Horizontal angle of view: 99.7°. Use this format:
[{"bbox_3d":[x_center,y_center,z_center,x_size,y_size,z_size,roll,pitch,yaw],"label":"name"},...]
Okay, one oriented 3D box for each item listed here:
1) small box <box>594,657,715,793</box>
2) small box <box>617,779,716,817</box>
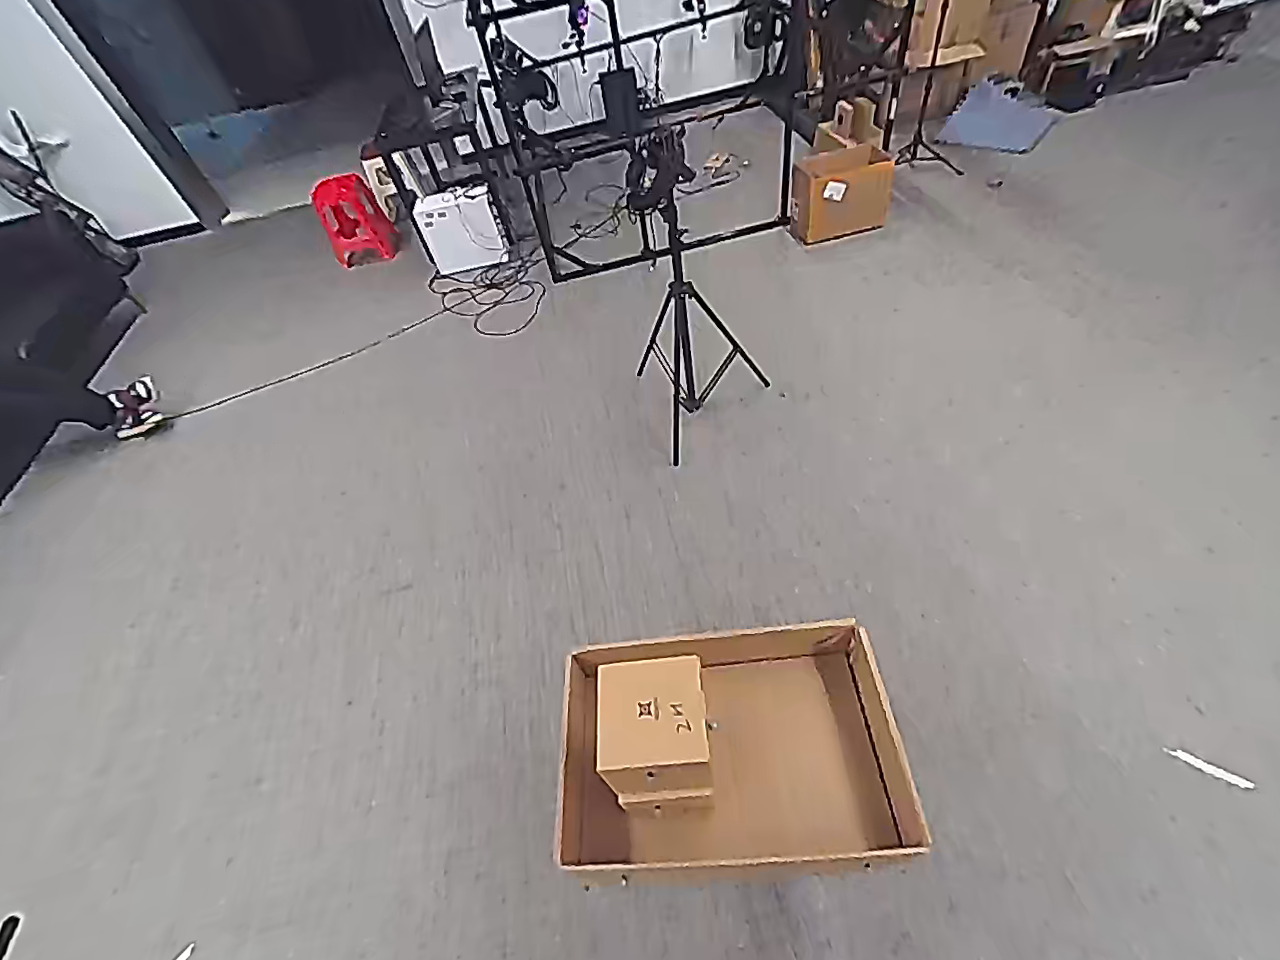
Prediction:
[{"bbox_3d":[0.028,0.417,0.914,0.179,0.176,0.168,-7,49,5],"label":"small box"},{"bbox_3d":[0.050,0.530,1.032,0.168,0.176,0.179,-8,48,4],"label":"small box"}]
